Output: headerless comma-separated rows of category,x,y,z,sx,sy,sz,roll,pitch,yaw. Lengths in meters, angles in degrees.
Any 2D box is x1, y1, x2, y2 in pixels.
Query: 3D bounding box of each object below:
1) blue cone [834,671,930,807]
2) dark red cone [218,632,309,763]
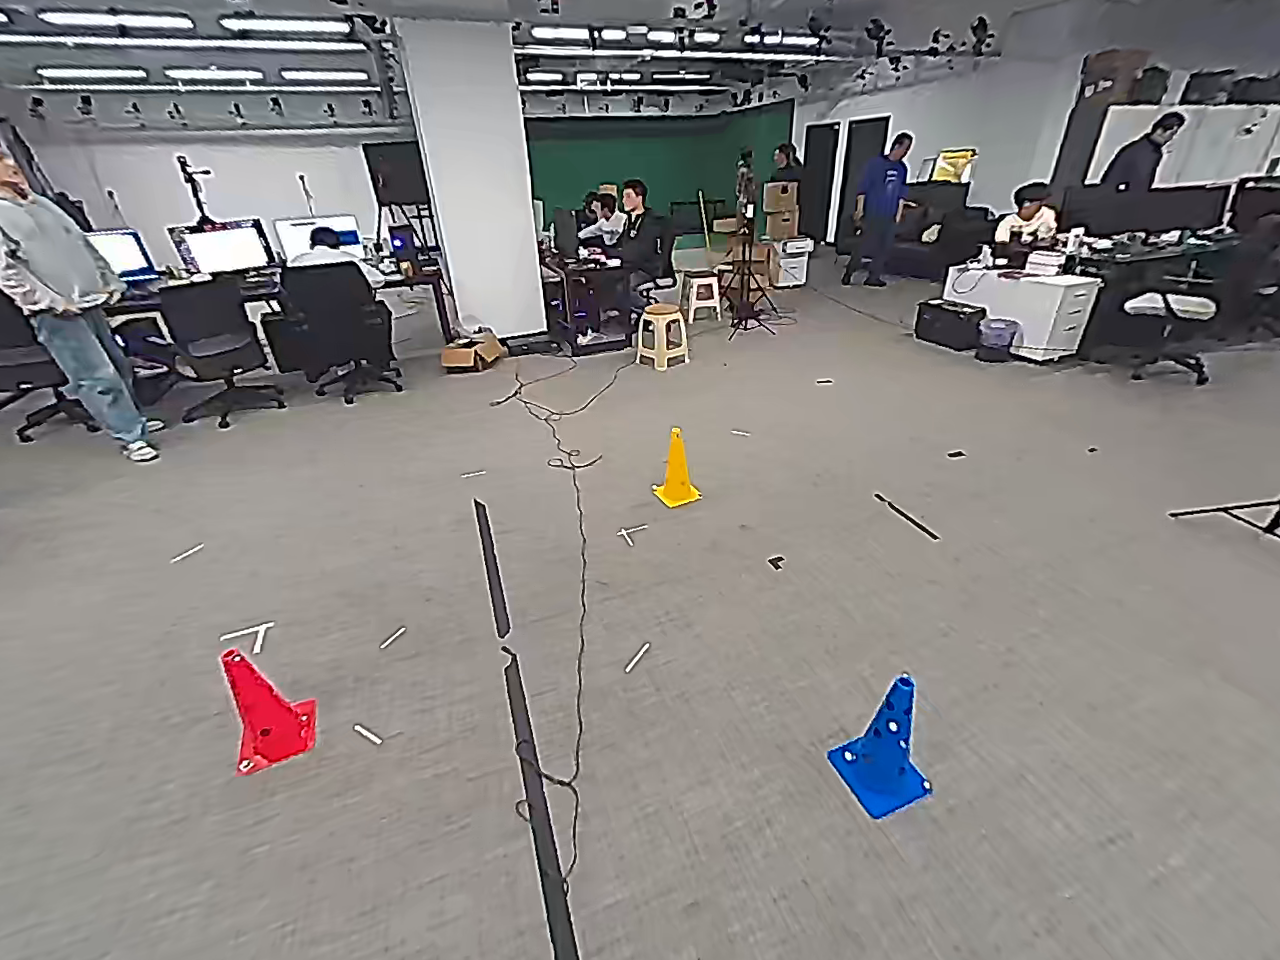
blue cone,0.643,0.632,1.380,0.192,0.380,0.193,-11,31,-16
dark red cone,-1.110,0.593,1.543,0.201,0.394,0.202,-16,32,-23
